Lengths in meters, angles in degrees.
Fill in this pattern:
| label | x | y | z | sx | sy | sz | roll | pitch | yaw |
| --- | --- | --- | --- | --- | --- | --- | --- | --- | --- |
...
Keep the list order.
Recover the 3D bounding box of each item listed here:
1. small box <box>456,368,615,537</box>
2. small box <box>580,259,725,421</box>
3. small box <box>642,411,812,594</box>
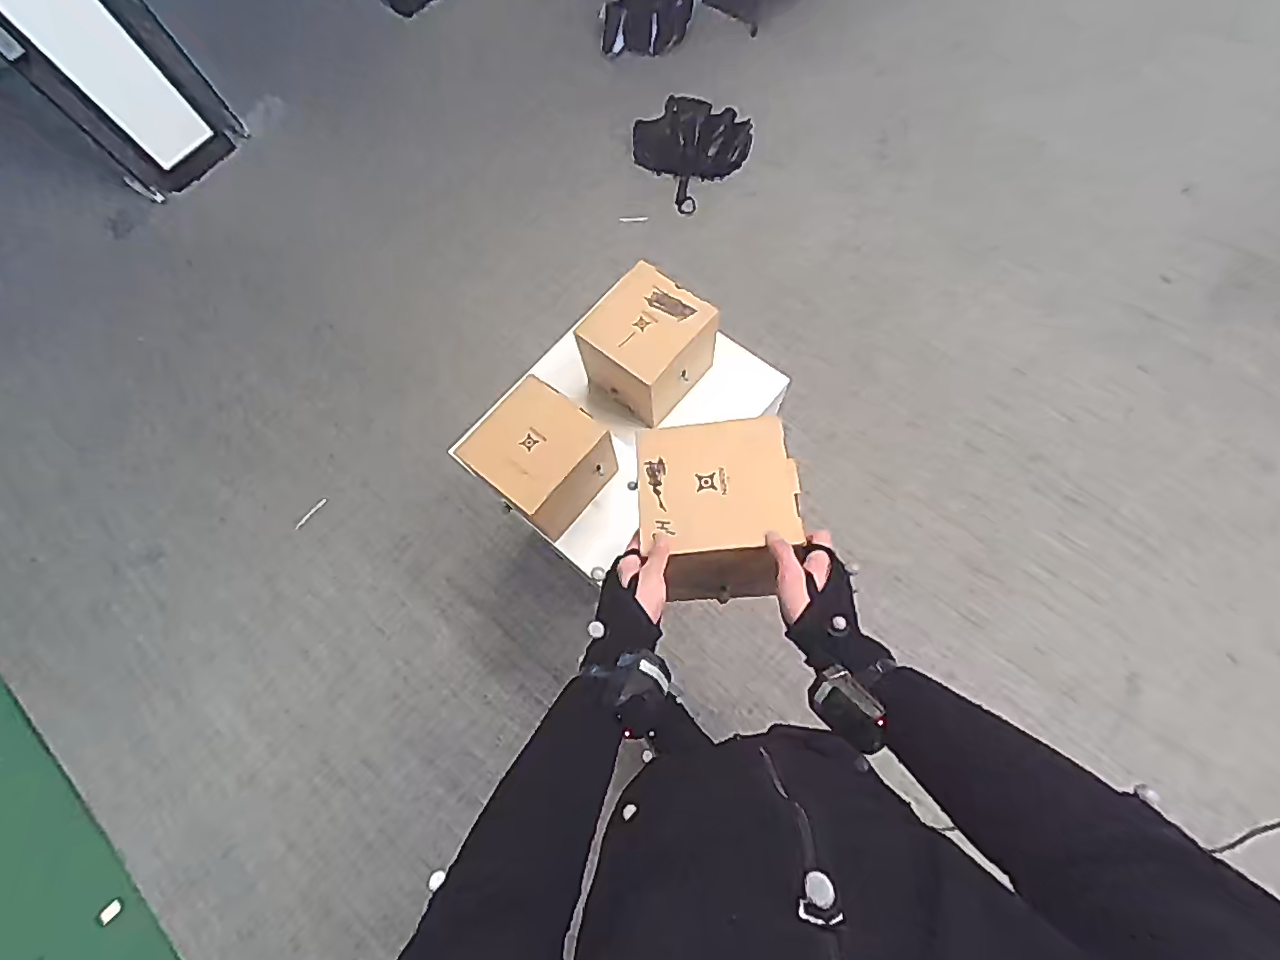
| label | x | y | z | sx | sy | sz | roll | pitch | yaw |
| --- | --- | --- | --- | --- | --- | --- | --- | --- | --- |
| small box | -0.153 | -0.037 | 0.867 | 0.168 | 0.176 | 0.179 | 37 | 75 | 15 |
| small box | 0.021 | -0.229 | 0.928 | 0.168 | 0.176 | 0.179 | 39 | 77 | 15 |
| small box | 0.095 | 0.034 | 0.663 | 0.179 | 0.176 | 0.168 | -3 | 59 | 4 |
